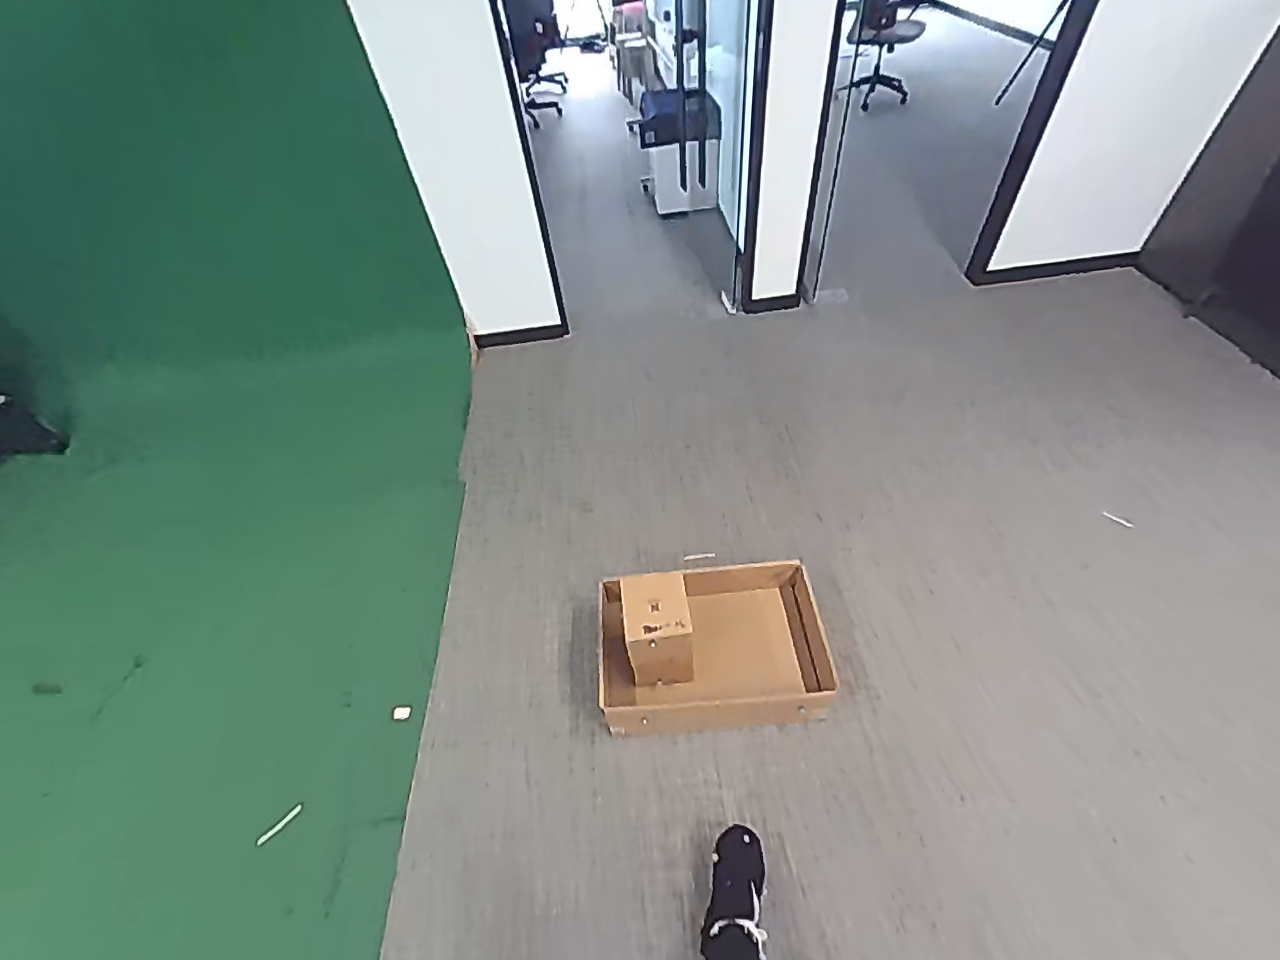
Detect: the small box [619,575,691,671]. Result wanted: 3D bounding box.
[{"bbox_3d":[0.037,0.371,1.400,0.168,0.176,0.179,-7,48,0],"label":"small box"}]
